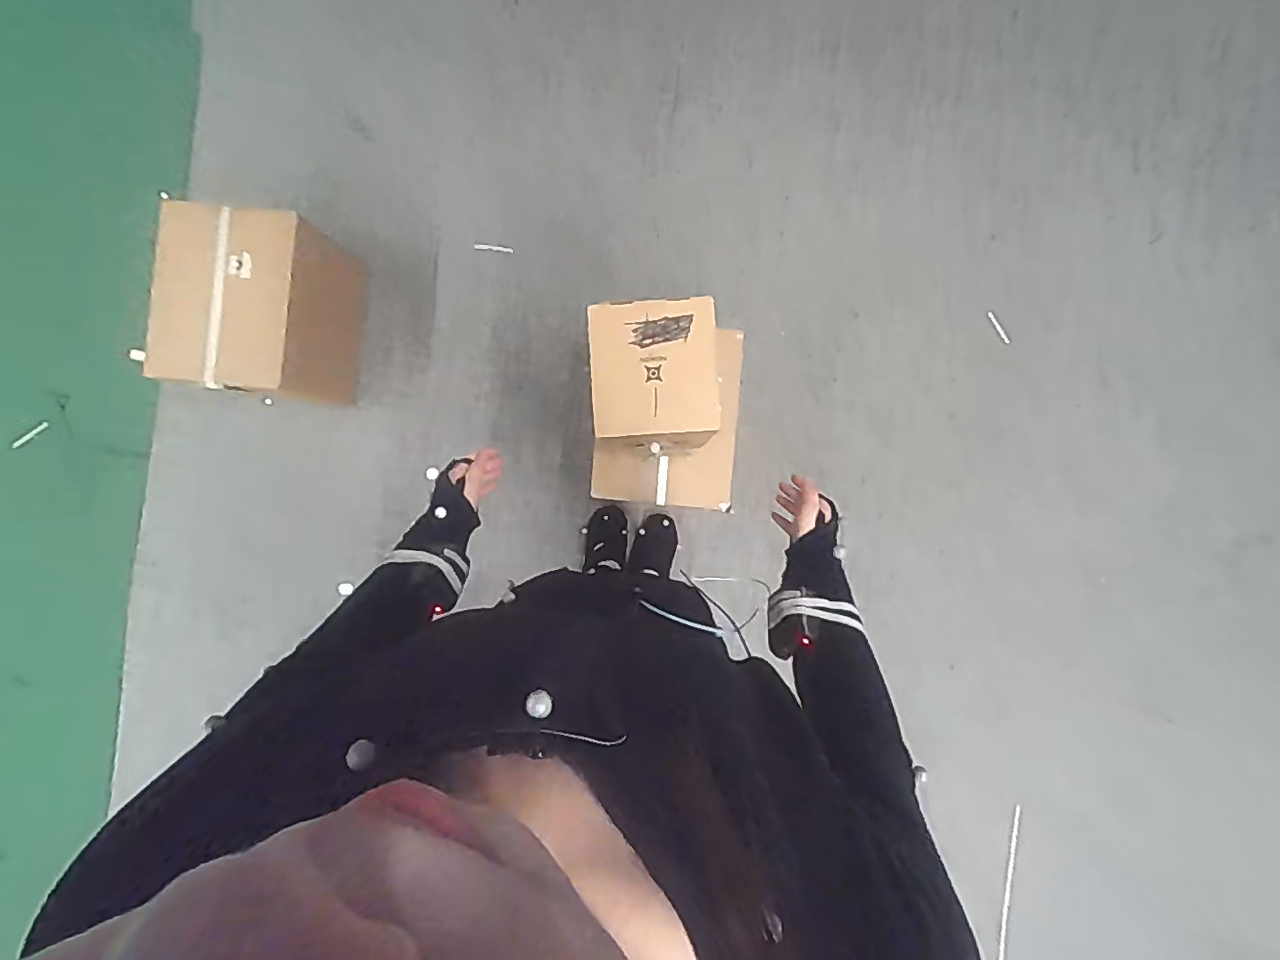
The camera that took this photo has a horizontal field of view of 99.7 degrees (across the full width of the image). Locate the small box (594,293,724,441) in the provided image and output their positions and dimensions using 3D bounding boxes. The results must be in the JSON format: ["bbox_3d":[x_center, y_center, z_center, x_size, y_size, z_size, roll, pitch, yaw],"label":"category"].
[{"bbox_3d":[0.027,-0.152,0.779,0.168,0.176,0.179,-3,91,3],"label":"small box"}]

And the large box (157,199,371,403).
[{"bbox_3d":[-0.919,-0.424,1.365,0.320,0.320,0.408,6,90,1],"label":"large box"}]
